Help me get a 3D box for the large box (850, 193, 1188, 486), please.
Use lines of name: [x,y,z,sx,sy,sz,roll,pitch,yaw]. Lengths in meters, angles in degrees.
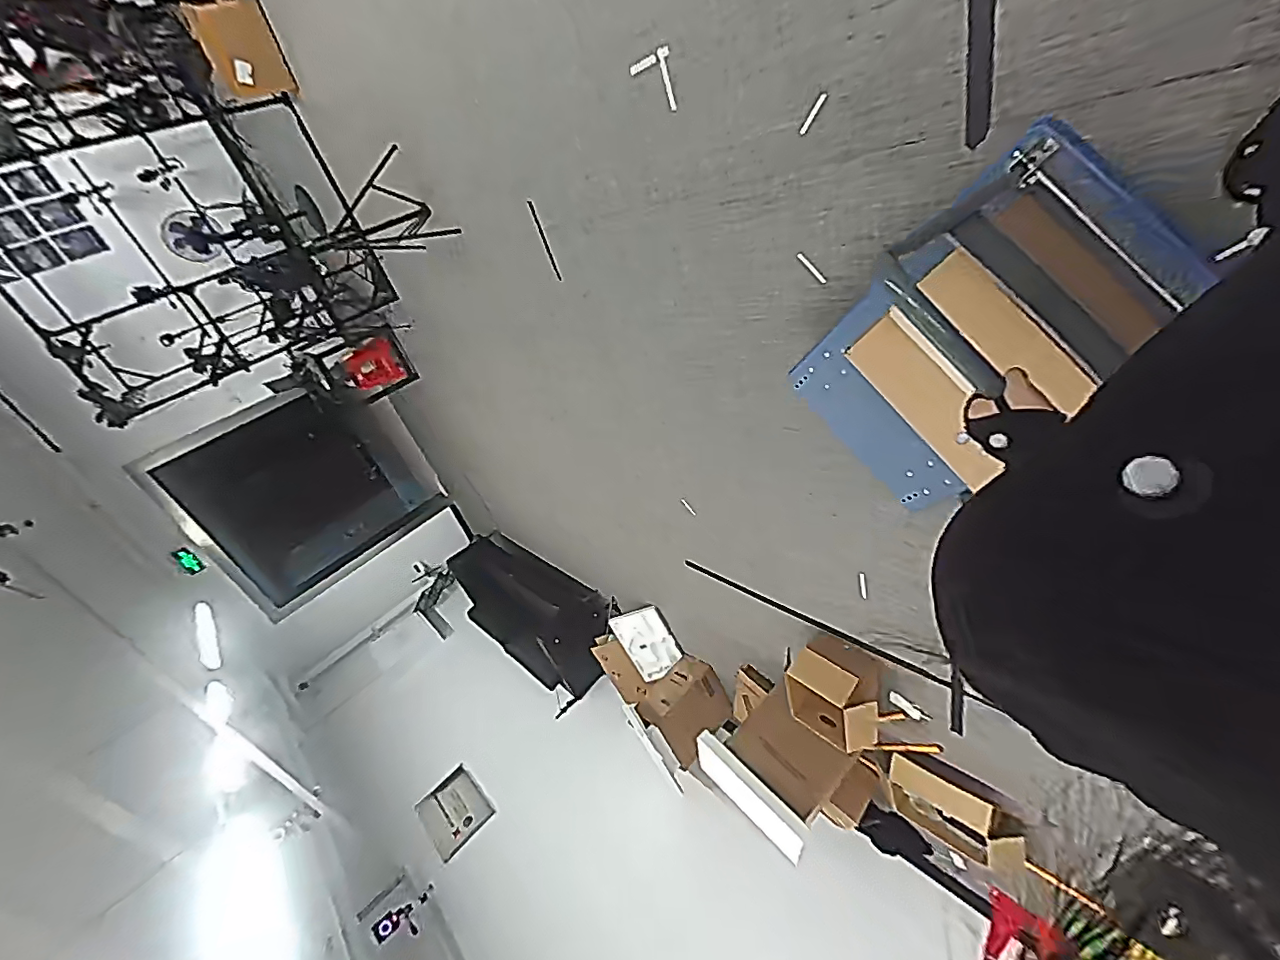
large box: [0.726,-0.268,1.069,0.408,0.320,0.320,50,152,7]
